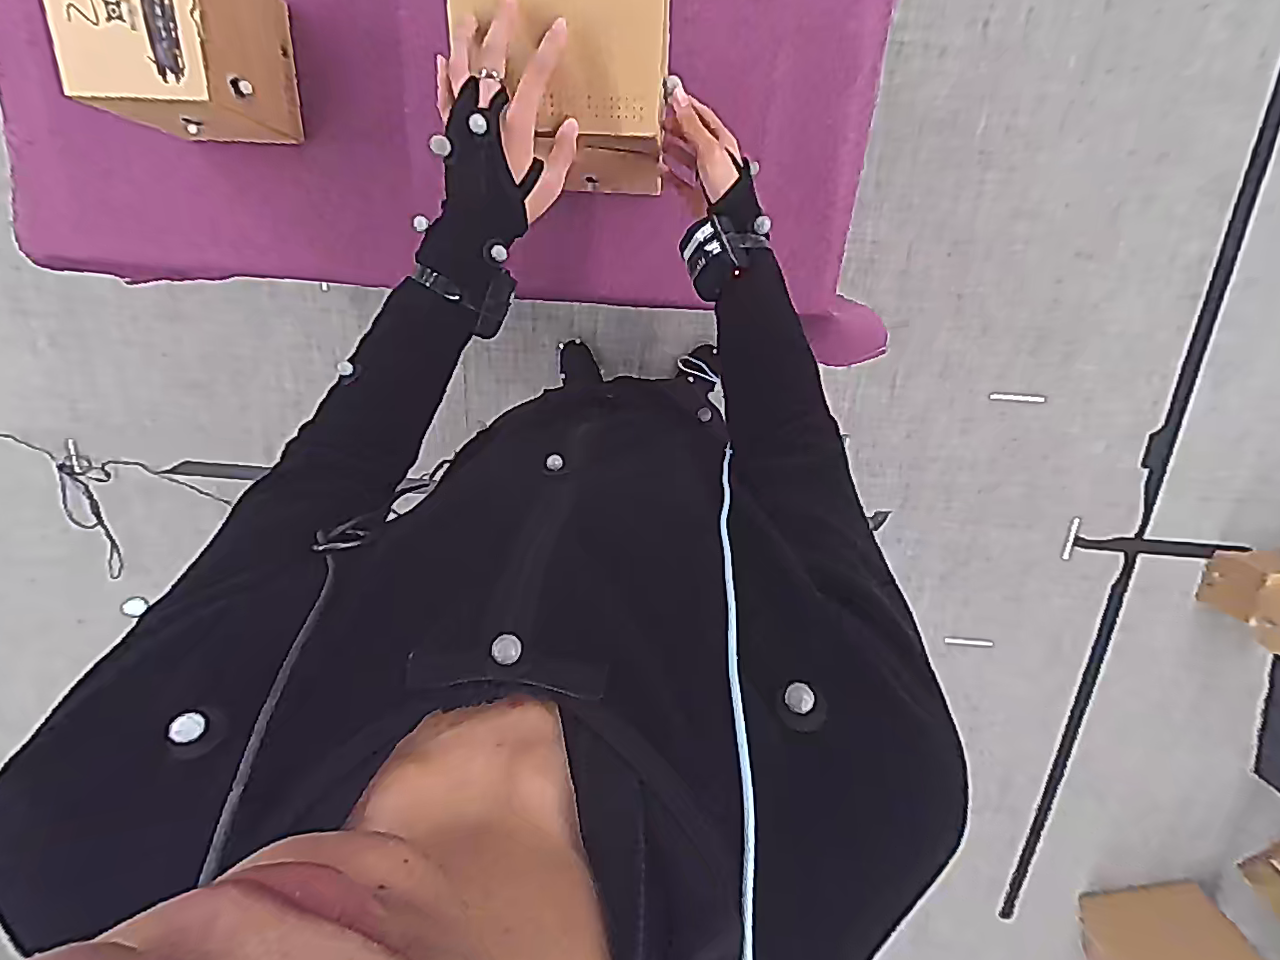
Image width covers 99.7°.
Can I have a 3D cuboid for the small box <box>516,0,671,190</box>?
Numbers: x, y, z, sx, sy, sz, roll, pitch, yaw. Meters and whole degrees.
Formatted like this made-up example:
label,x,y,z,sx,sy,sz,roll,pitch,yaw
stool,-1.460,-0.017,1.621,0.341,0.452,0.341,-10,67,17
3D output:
label,x,y,z,sx,sy,sz,roll,pitch,yaw
small box,-0.050,-0.473,0.668,0.168,0.176,0.179,4,107,1
